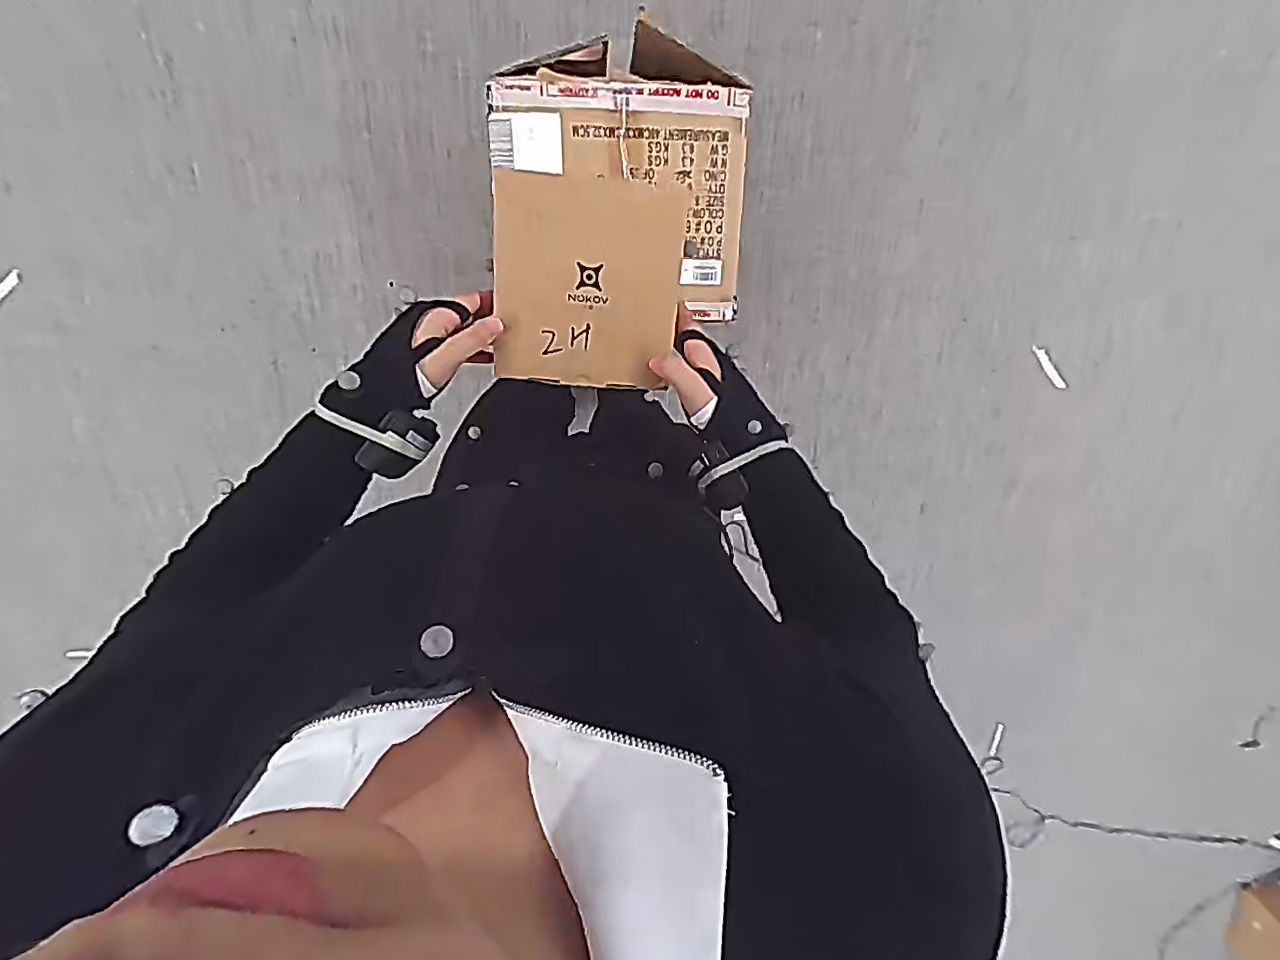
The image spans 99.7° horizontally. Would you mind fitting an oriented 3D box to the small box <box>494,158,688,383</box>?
[{"bbox_3d":[-0.053,-0.206,0.556,0.168,0.176,0.179,3,110,-5],"label":"small box"}]
